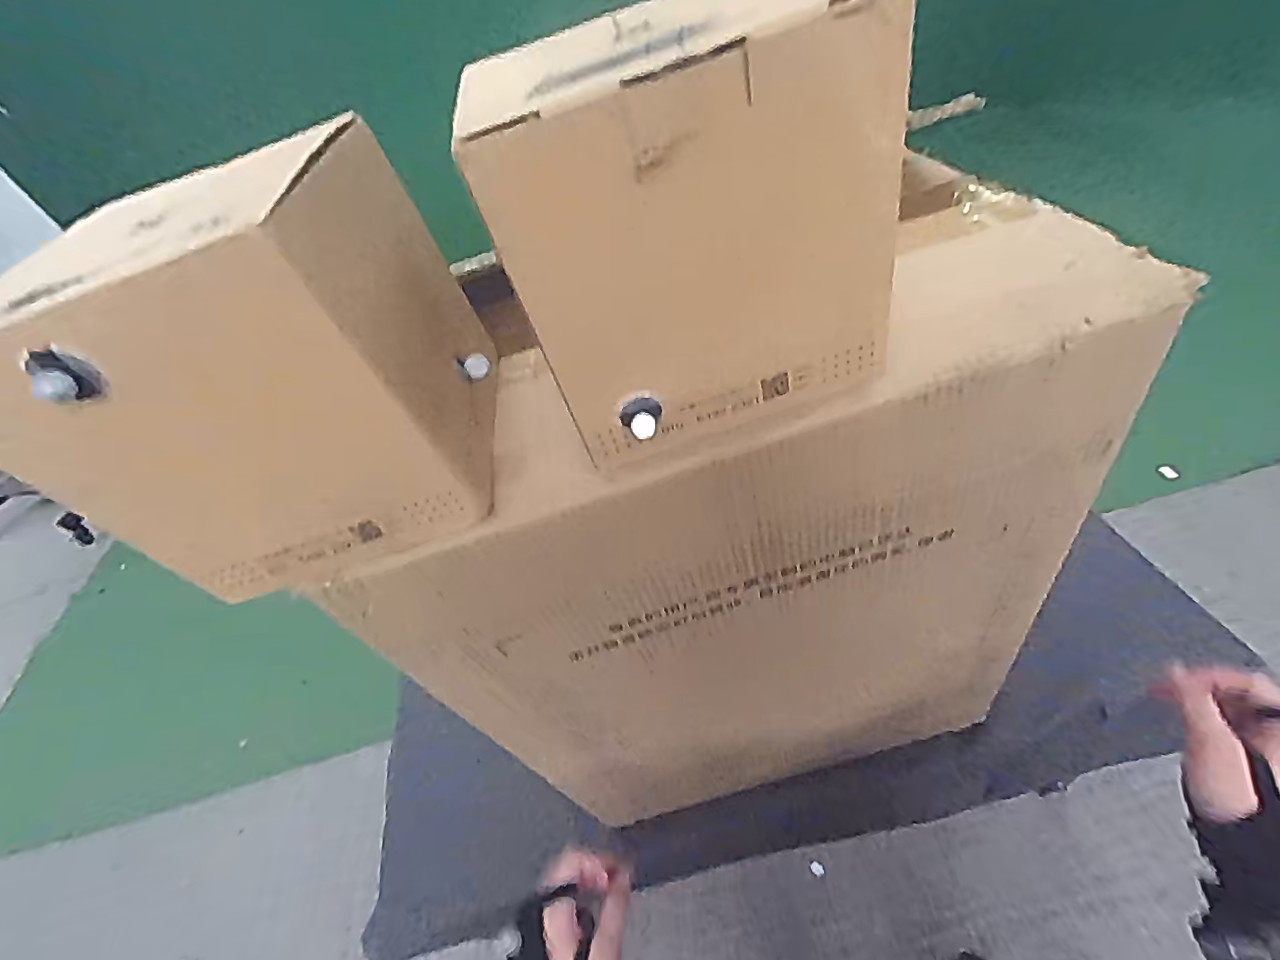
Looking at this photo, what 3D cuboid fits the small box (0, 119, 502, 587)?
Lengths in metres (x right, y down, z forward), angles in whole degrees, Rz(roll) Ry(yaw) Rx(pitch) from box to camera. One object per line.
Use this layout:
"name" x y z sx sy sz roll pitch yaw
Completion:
"small box" -0.192 -0.069 0.311 0.168 0.176 0.179 -19 44 6

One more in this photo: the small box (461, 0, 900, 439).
"small box" 0.019 -0.142 0.302 0.168 0.176 0.179 -18 44 2
